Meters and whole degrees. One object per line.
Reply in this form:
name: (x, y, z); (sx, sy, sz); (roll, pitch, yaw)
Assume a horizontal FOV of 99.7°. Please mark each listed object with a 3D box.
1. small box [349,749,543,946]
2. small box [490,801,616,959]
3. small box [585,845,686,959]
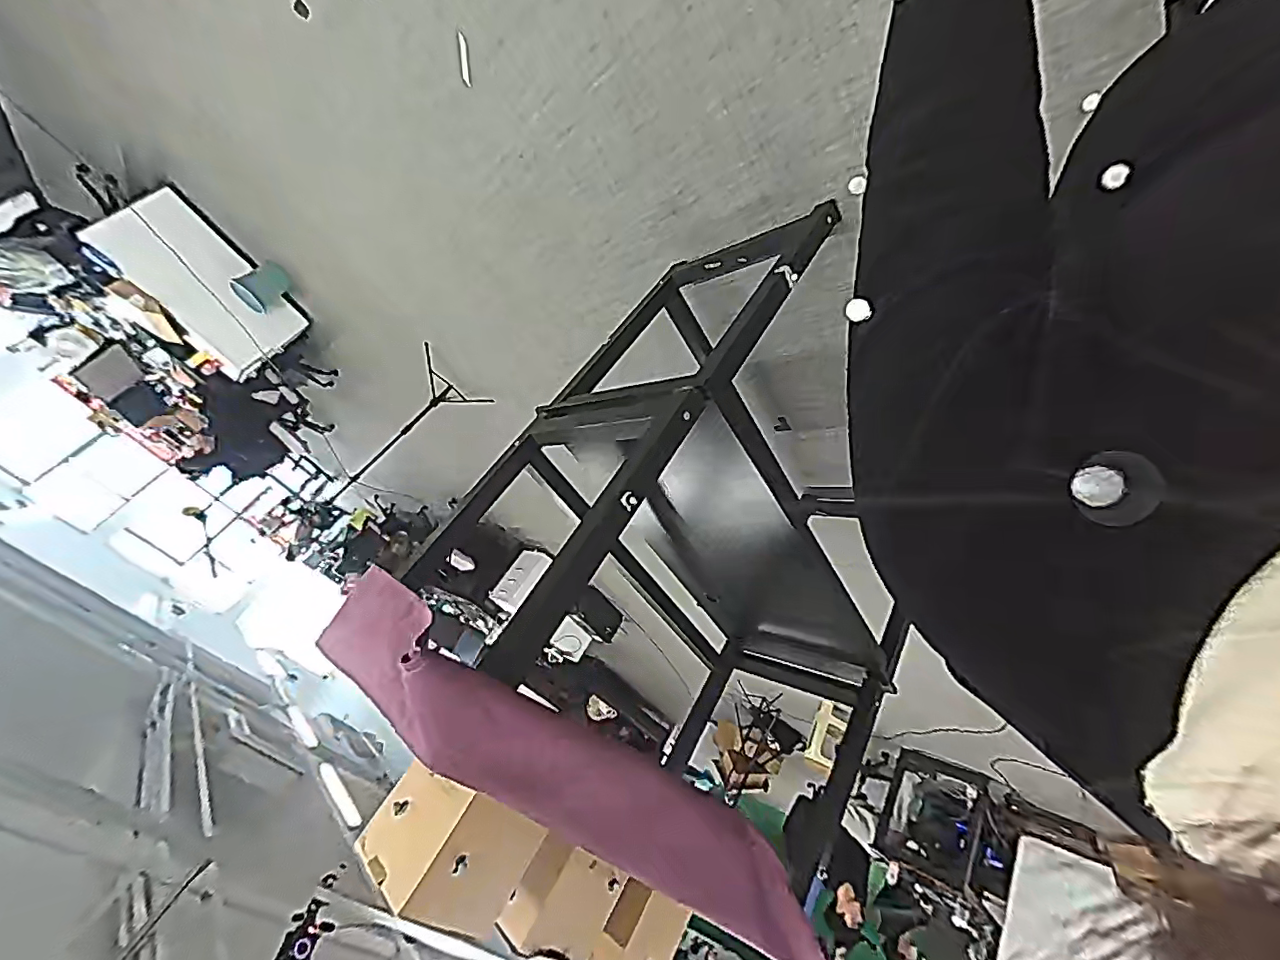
small box: (-0.284, 0.538, 0.810); (0.168, 0.176, 0.179); (7, 143, 45)
small box: (-0.165, 0.708, 0.952); (0.179, 0.176, 0.168); (3, 139, 48)
small box: (-0.036, 0.884, 1.090); (0.168, 0.176, 0.179); (4, 140, 45)
